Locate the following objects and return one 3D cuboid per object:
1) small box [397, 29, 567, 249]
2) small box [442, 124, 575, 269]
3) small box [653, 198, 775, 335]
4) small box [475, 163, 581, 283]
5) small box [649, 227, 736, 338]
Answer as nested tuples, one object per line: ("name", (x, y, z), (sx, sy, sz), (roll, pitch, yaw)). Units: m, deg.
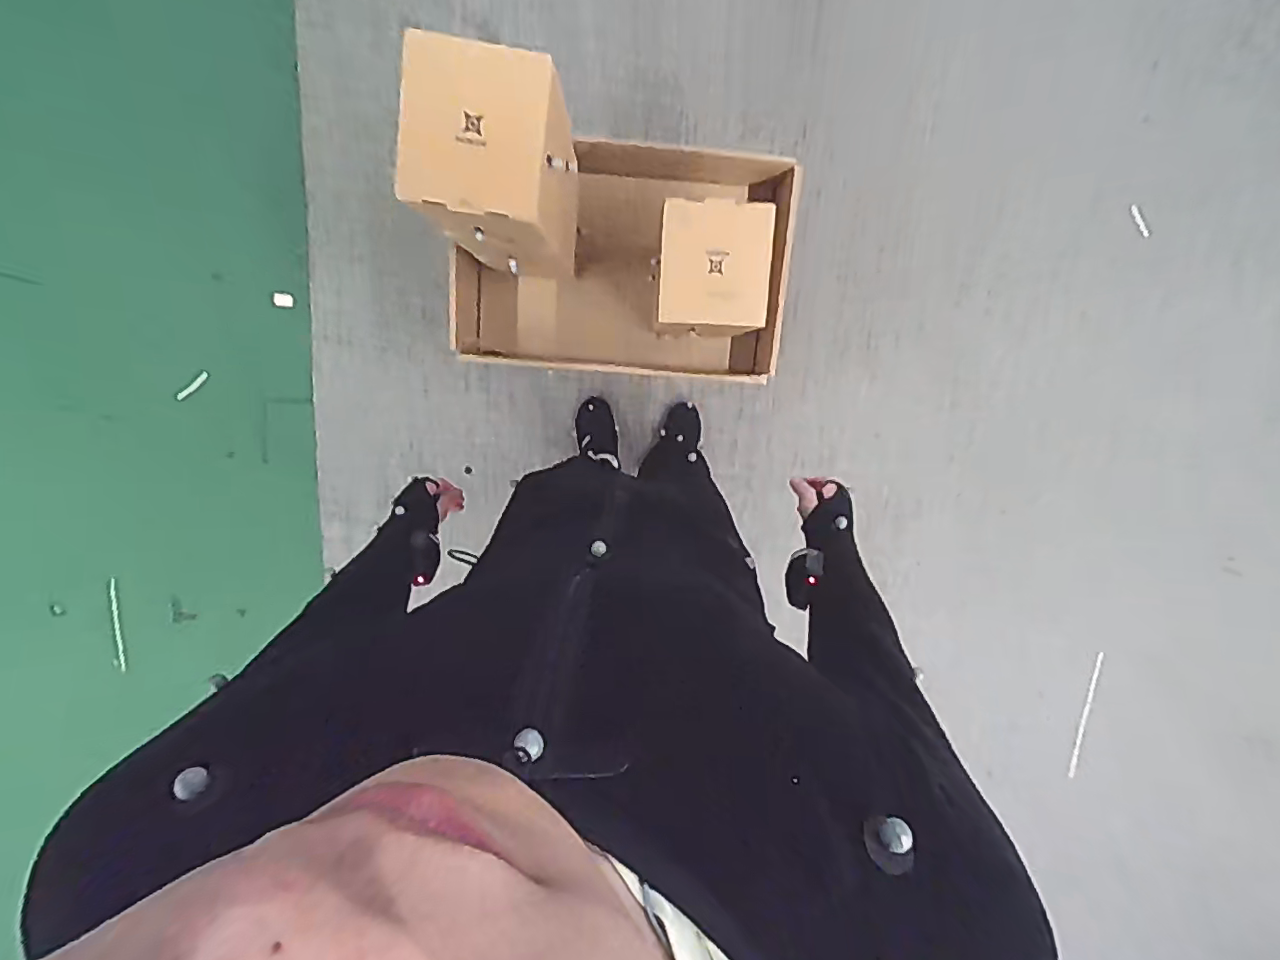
("small box", (-0.189, -0.416, 0.692), (0.168, 0.176, 0.179), (9, 102, -4))
("small box", (-0.198, -0.448, 0.851), (0.168, 0.176, 0.179), (8, 102, -3))
("small box", (0.110, -0.336, 0.880), (0.168, 0.176, 0.179), (3, 102, -1))
("small box", (-0.202, -0.482, 1.011), (0.168, 0.176, 0.179), (6, 102, -3))
("small box", (0.106, -0.370, 1.040), (0.168, 0.176, 0.179), (3, 101, -2))
